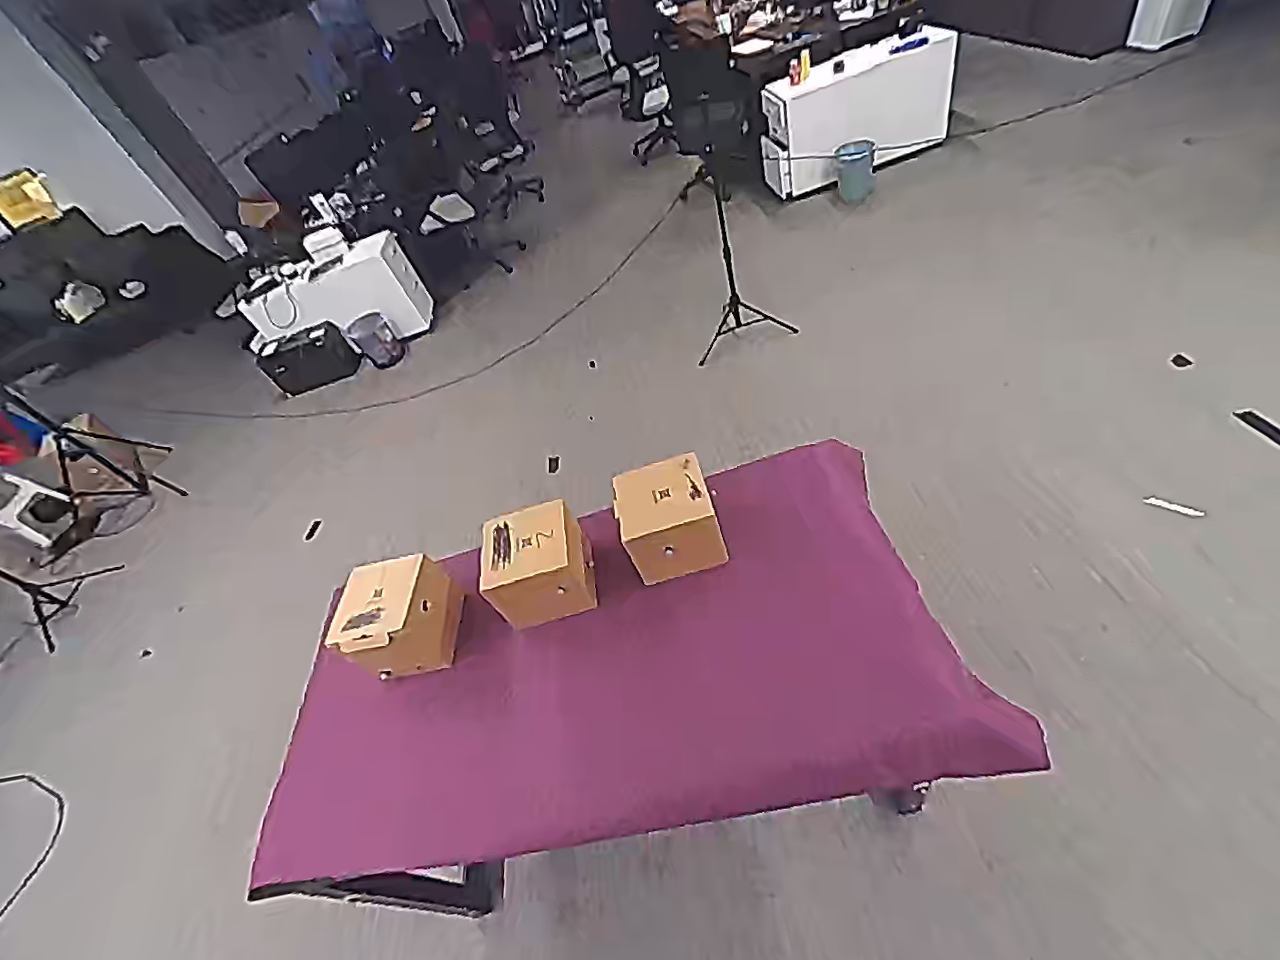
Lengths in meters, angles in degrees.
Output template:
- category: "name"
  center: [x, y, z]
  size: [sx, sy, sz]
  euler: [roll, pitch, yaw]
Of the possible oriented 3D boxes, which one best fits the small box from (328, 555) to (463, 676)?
- category: "small box"
  center: [-0.482, 0.282, 1.097]
  size: [0.168, 0.176, 0.179]
  euler: [-13, 46, 9]
